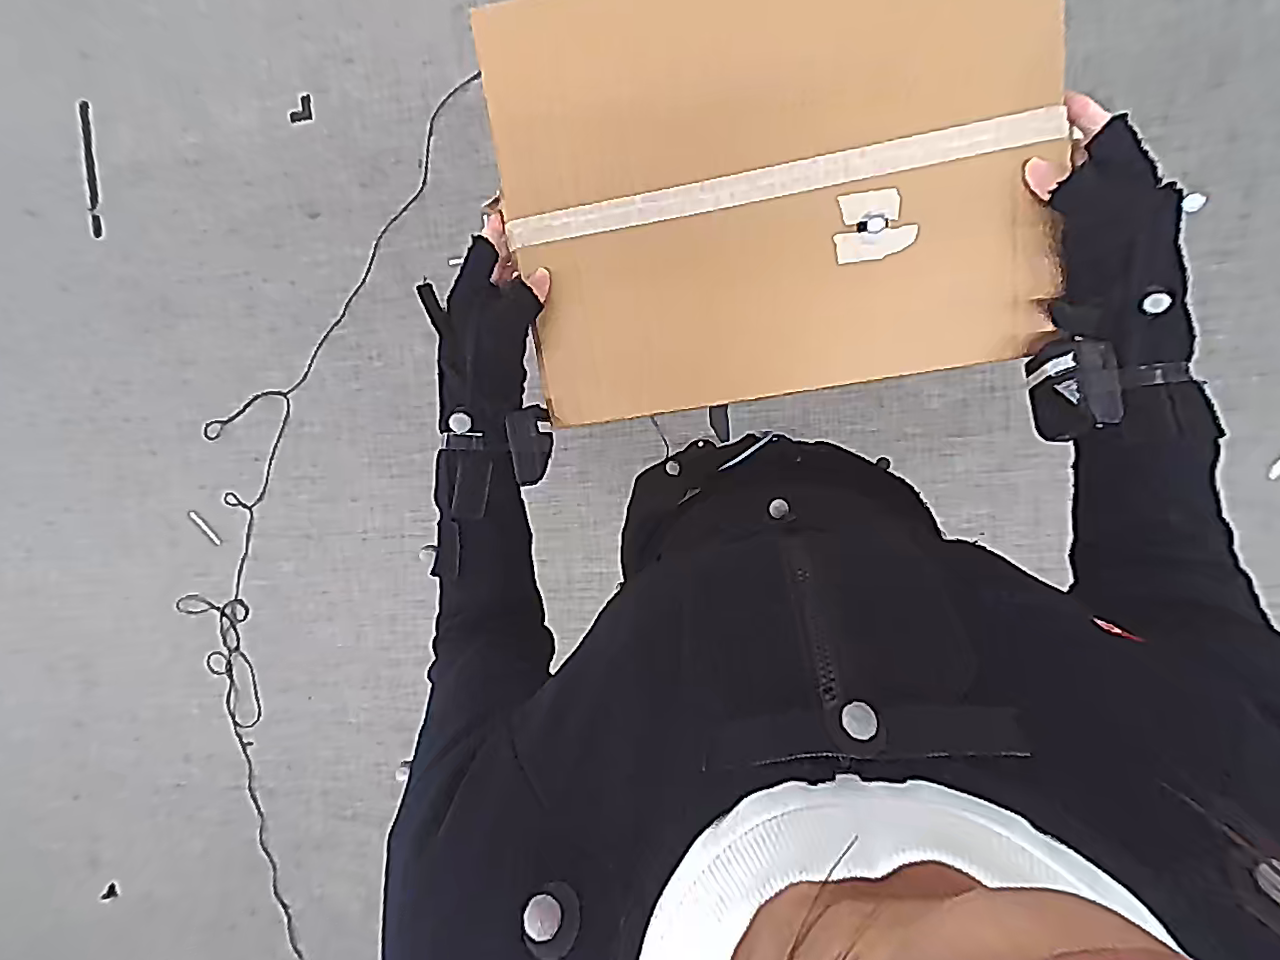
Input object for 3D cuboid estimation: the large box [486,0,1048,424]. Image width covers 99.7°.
[{"bbox_3d":[0.110,-0.253,0.565,0.408,0.320,0.320,-8,101,6],"label":"large box"}]
